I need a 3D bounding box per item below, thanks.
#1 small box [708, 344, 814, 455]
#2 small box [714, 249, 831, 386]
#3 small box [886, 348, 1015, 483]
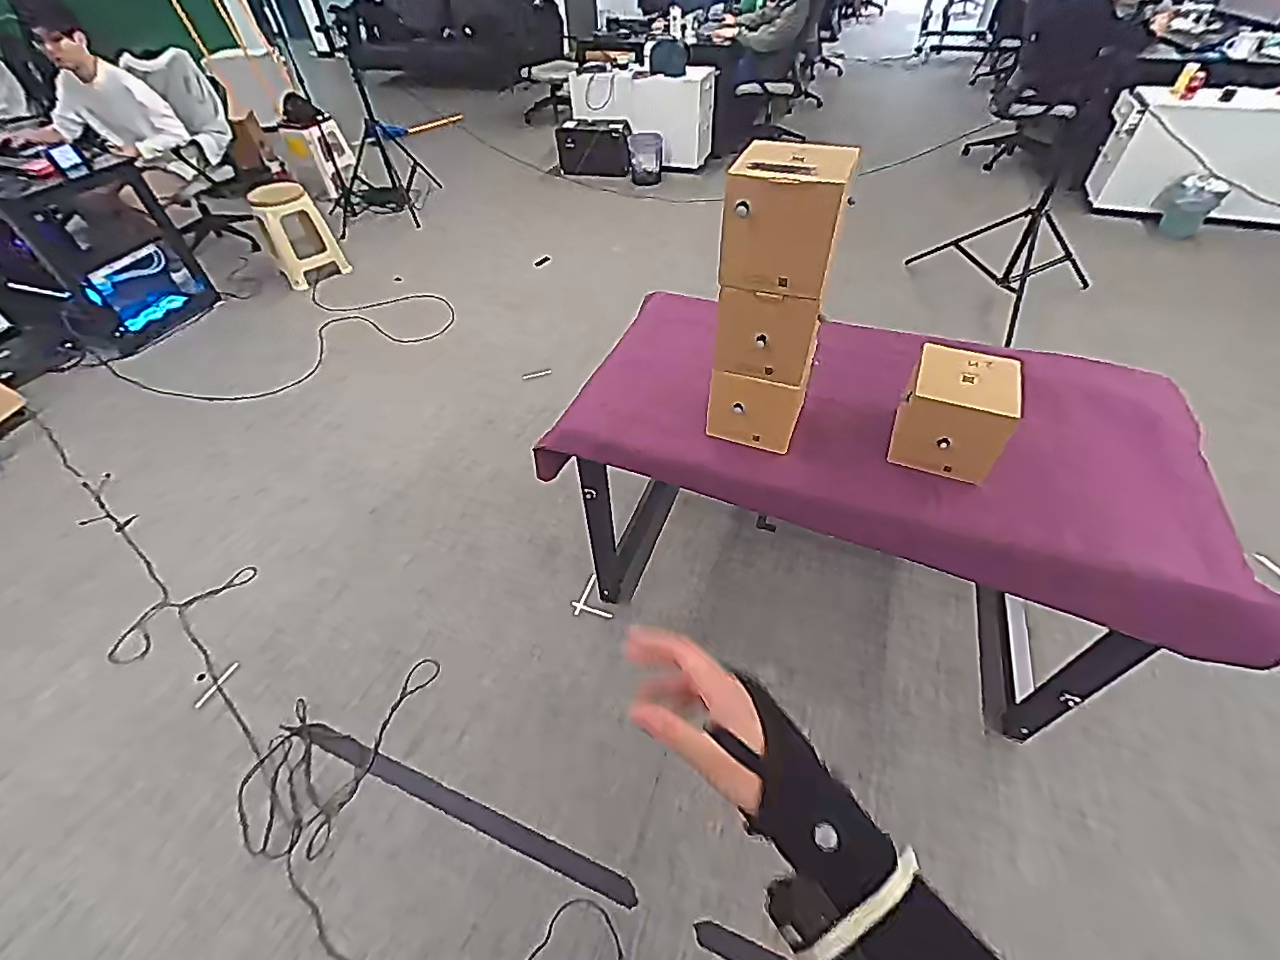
[{"bbox_3d":[0.240,-0.177,1.098,0.168,0.176,0.179,16,49,16],"label":"small box"},{"bbox_3d":[0.236,-0.293,0.983,0.168,0.176,0.179,14,49,15],"label":"small box"},{"bbox_3d":[0.584,-0.121,1.029,0.168,0.176,0.179,18,50,17],"label":"small box"}]
